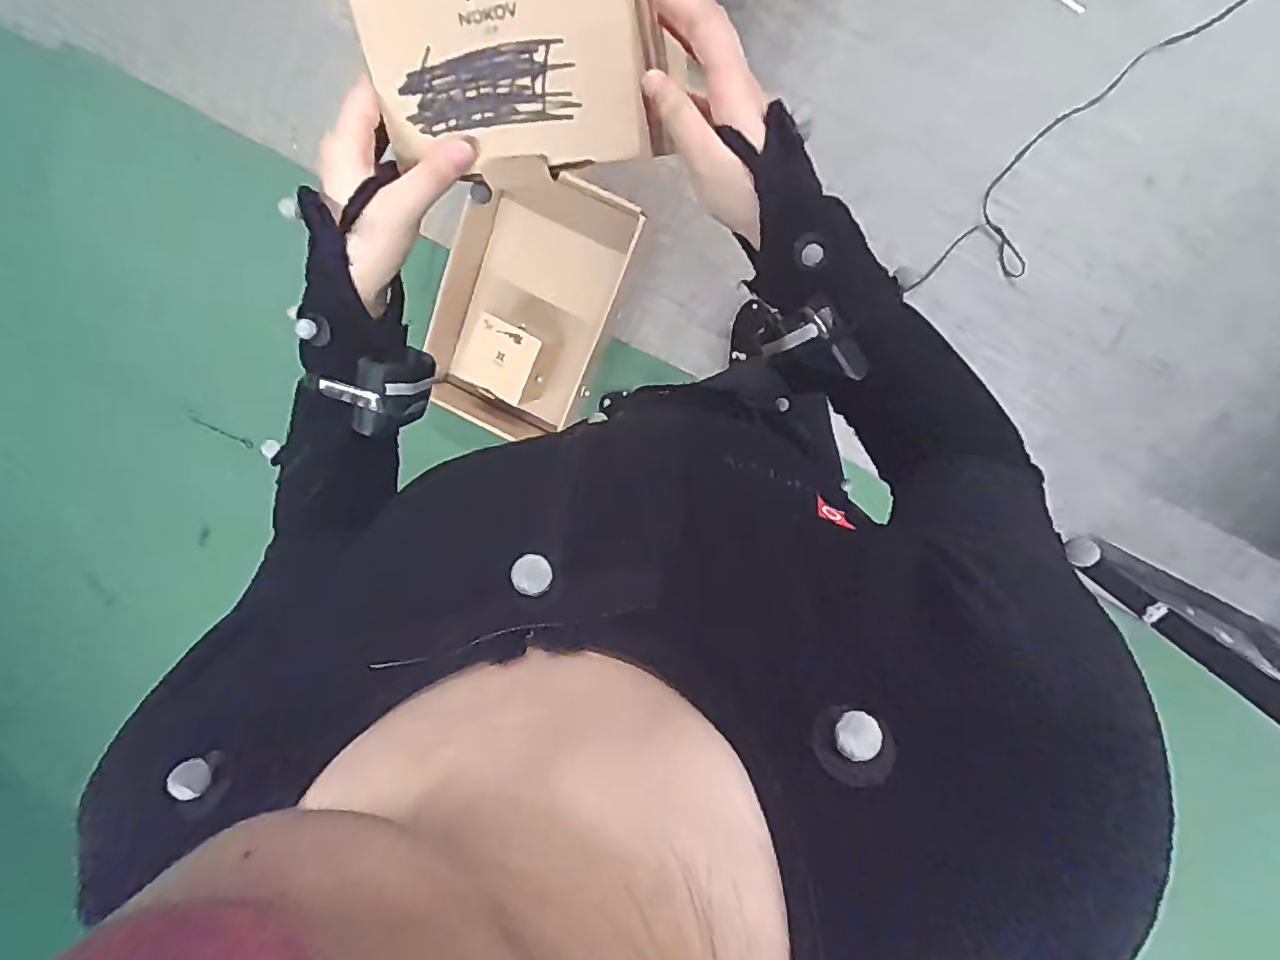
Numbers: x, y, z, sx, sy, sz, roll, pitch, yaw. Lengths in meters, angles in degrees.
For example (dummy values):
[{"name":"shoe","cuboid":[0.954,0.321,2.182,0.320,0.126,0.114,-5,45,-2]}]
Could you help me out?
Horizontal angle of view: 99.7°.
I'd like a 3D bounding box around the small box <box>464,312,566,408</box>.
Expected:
[{"name":"small box","cuboid":[-0.307,-0.304,1.360,0.168,0.176,0.179,28,109,4]}]
